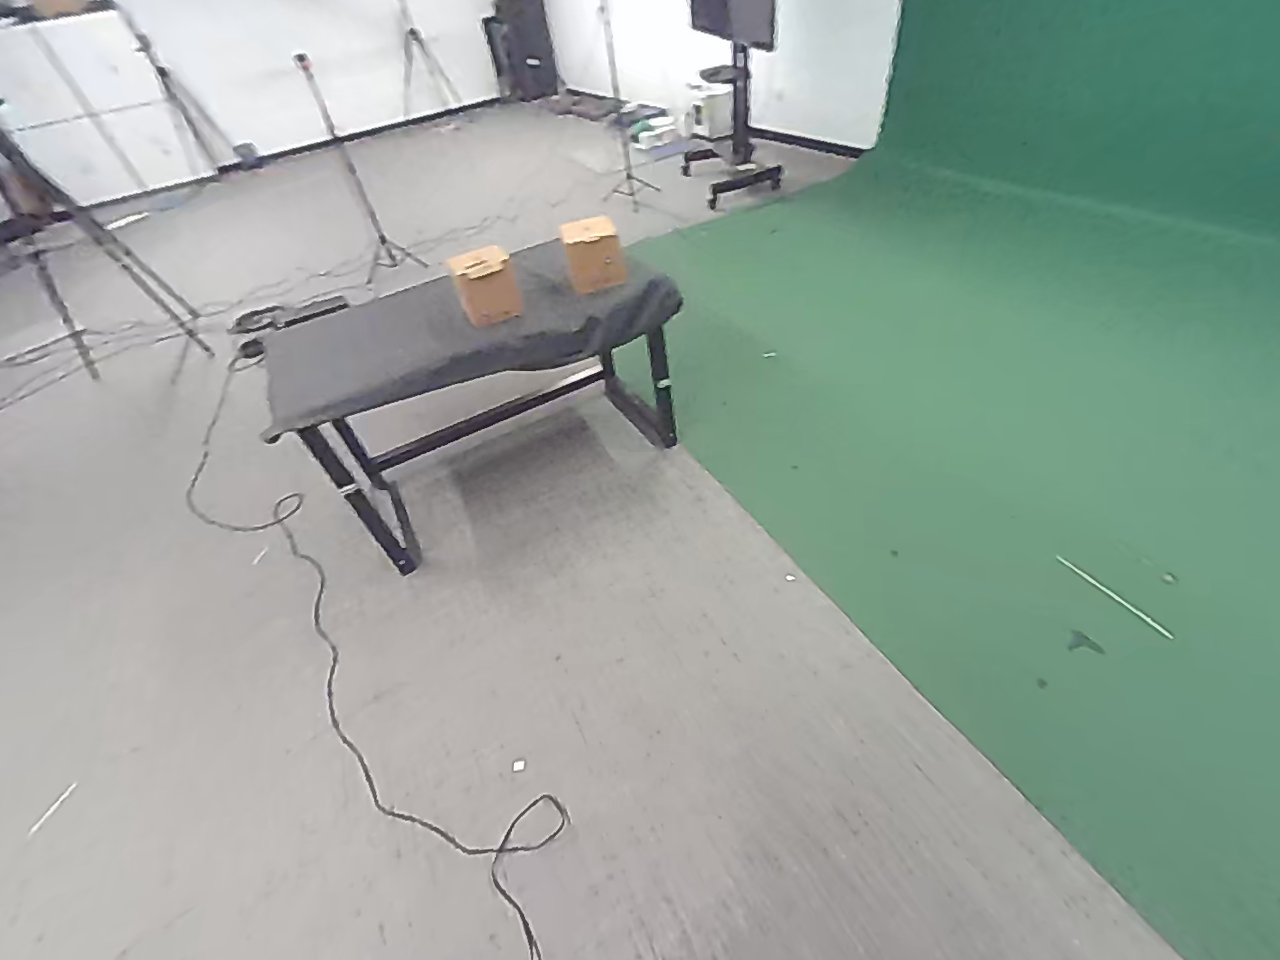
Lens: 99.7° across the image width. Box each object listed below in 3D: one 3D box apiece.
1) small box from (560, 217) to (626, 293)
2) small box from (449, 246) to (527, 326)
[{"bbox_3d":[-0.149,-0.719,1.741,0.168,0.176,0.179,-16,42,-6],"label":"small box"},{"bbox_3d":[-0.468,-0.597,1.677,0.168,0.176,0.179,-24,44,-14],"label":"small box"}]
